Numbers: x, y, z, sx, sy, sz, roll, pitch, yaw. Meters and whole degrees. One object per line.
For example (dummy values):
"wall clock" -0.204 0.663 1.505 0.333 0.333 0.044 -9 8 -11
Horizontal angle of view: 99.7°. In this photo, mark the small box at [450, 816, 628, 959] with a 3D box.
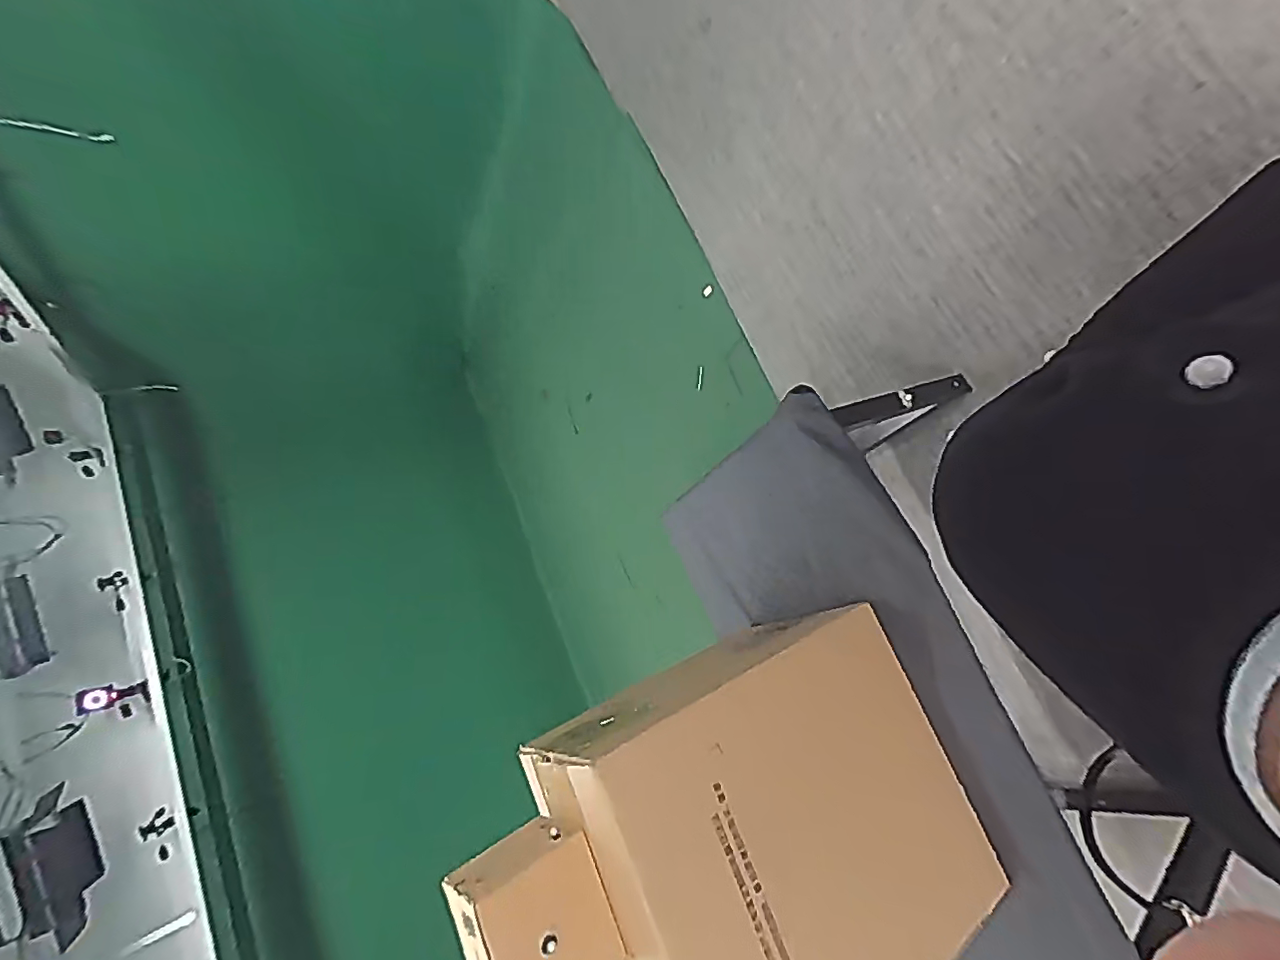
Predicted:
"small box" -0.146 0.620 0.777 0.168 0.176 0.179 -36 73 51
